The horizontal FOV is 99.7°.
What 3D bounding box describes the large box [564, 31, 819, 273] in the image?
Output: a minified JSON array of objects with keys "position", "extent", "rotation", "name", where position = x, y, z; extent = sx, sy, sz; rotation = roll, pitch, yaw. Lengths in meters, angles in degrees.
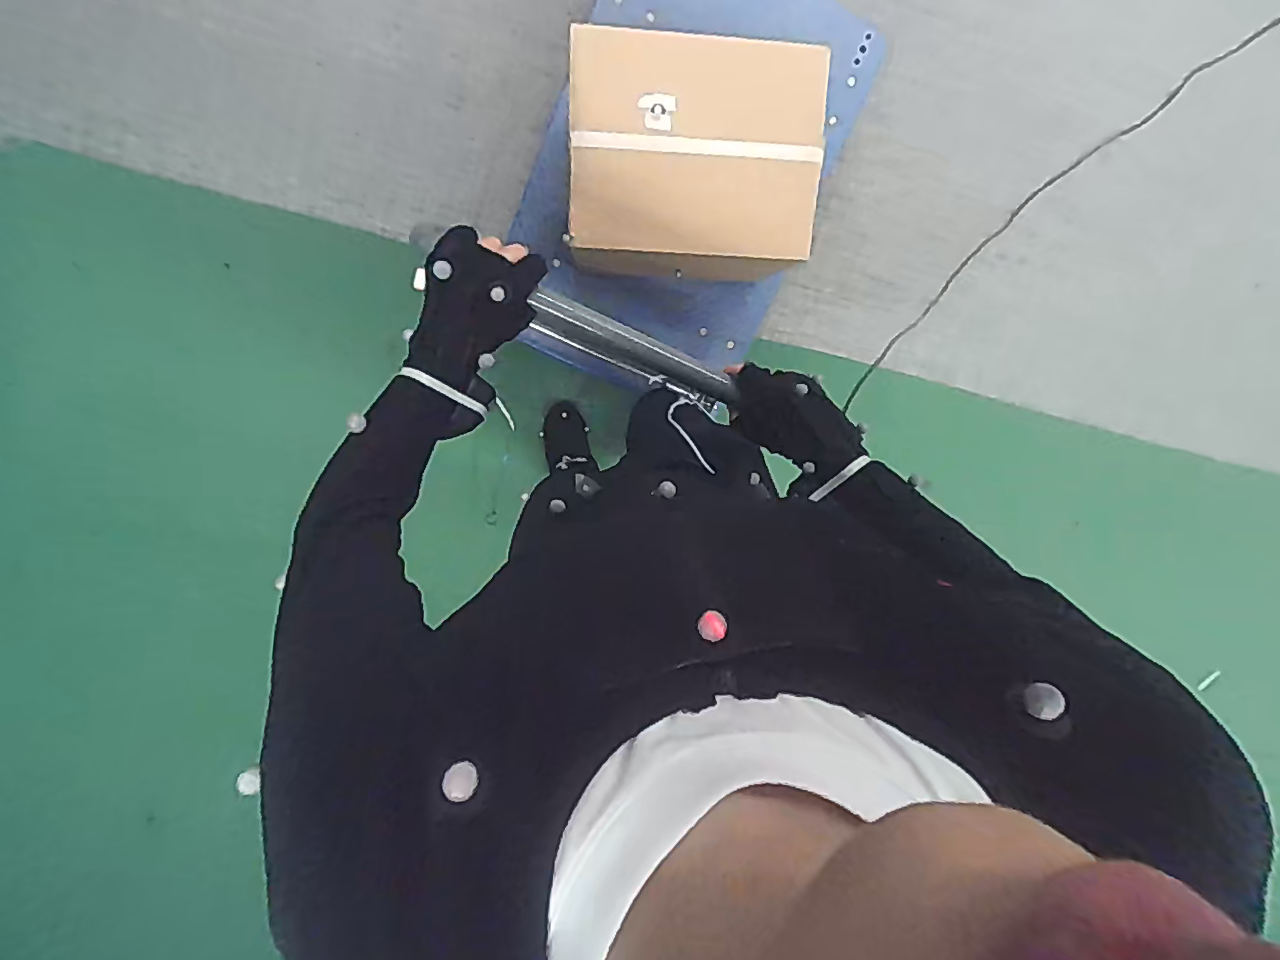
[{"position":[0.073,-0.567,1.008],"extent":[0.408,0.320,0.320],"rotation":[1,103,-4],"name":"large box"}]
